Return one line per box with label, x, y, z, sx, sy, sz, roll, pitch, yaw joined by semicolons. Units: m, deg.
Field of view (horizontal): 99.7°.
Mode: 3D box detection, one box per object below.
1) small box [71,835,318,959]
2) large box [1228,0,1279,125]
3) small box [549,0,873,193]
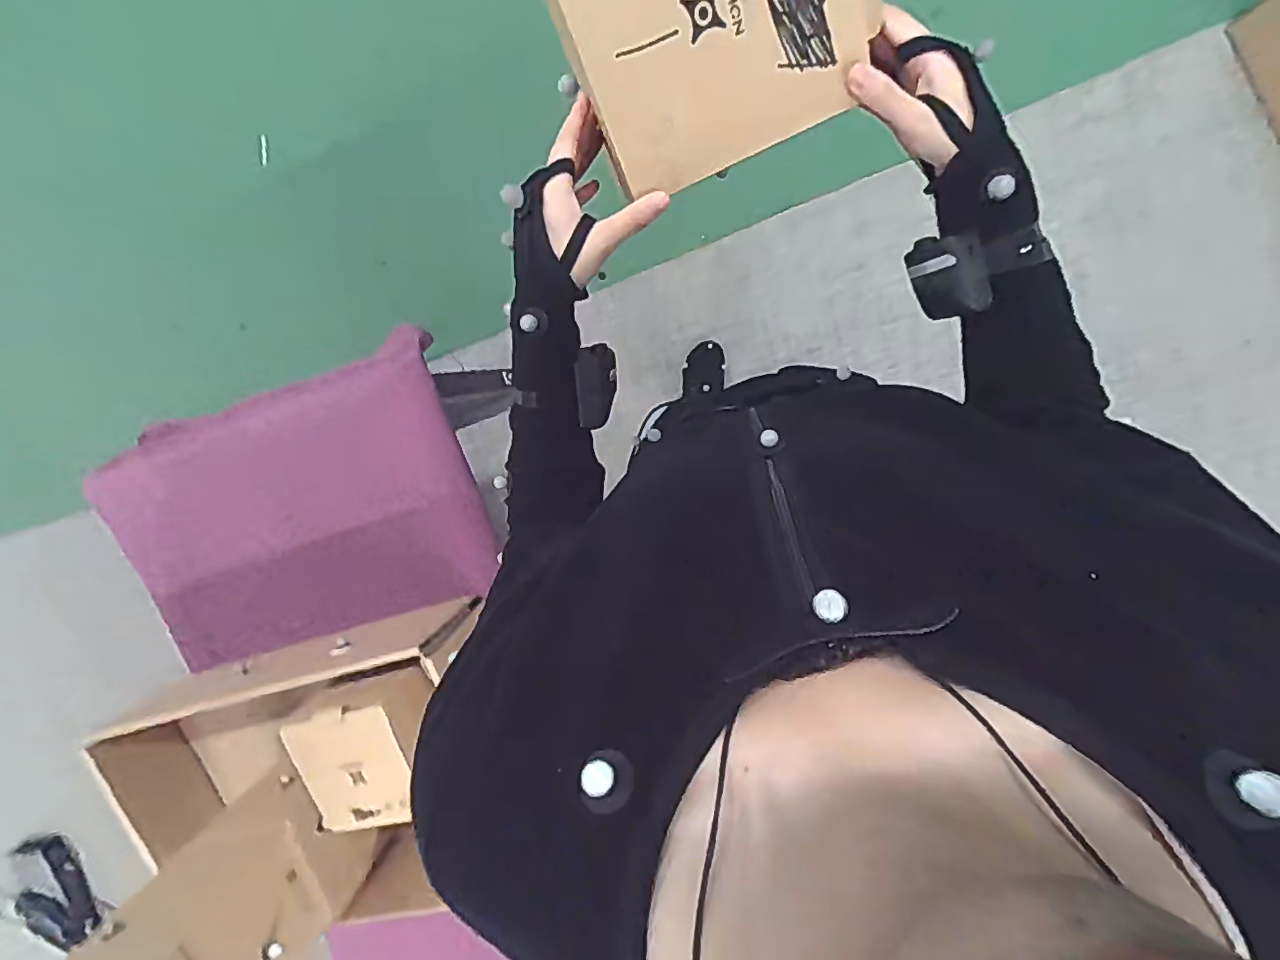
small box;-0.553;0.592;0.690;0.179;0.176;0.168;-16;100;10
large box;1.455;-0.852;0.987;0.320;0.320;0.408;-33;94;13
small box;0.036;-0.334;0.387;0.179;0.176;0.168;-22;123;8
